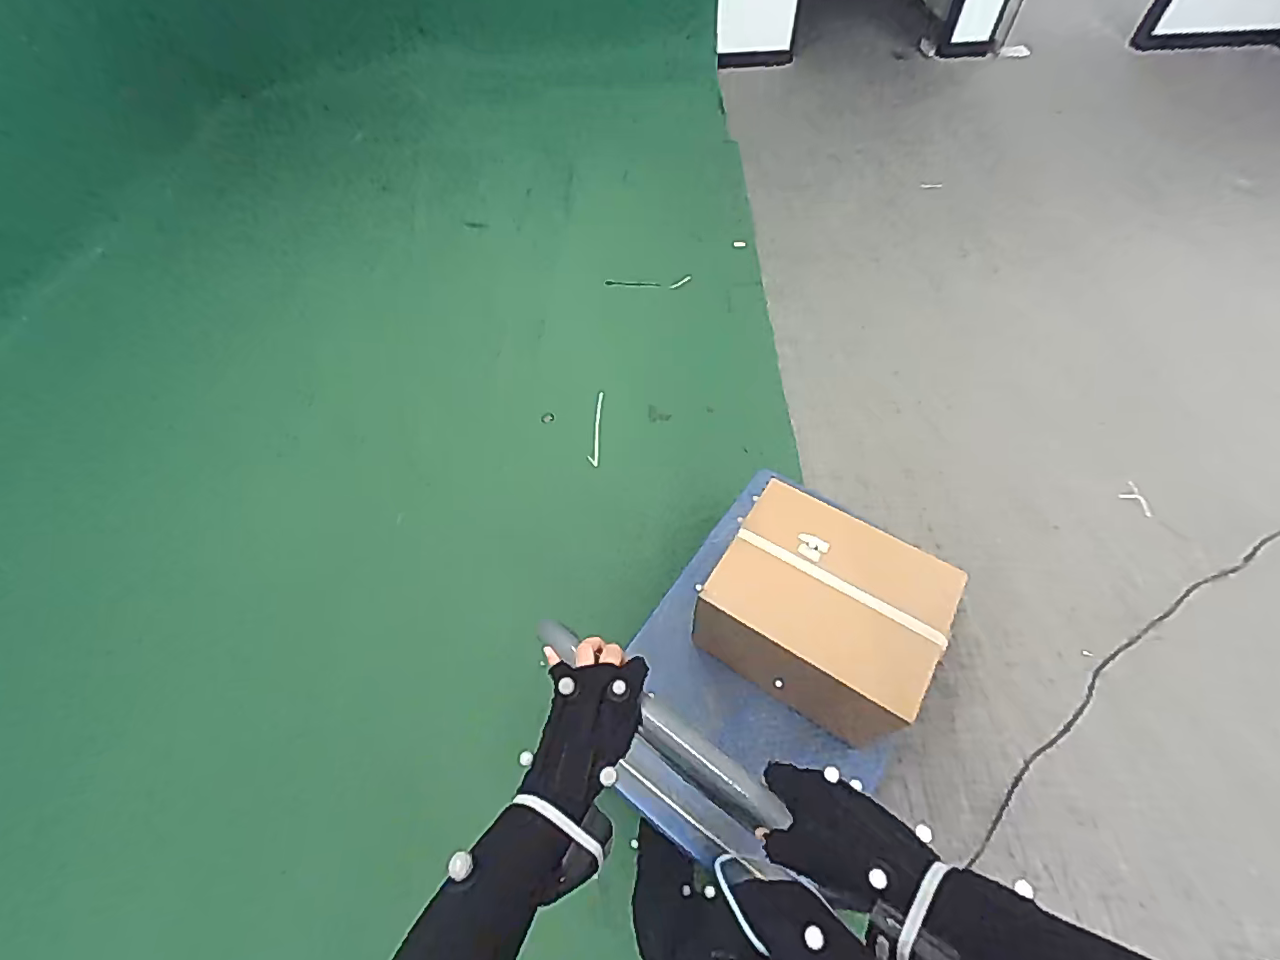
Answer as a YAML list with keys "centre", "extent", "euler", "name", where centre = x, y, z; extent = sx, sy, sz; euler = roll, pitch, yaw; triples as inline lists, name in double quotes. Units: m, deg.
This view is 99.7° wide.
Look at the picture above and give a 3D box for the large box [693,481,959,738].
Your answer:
- centre: [0.362, 0.274, 1.137]
  extent: [0.408, 0.320, 0.320]
  euler: [28, 62, 20]
  name: "large box"
